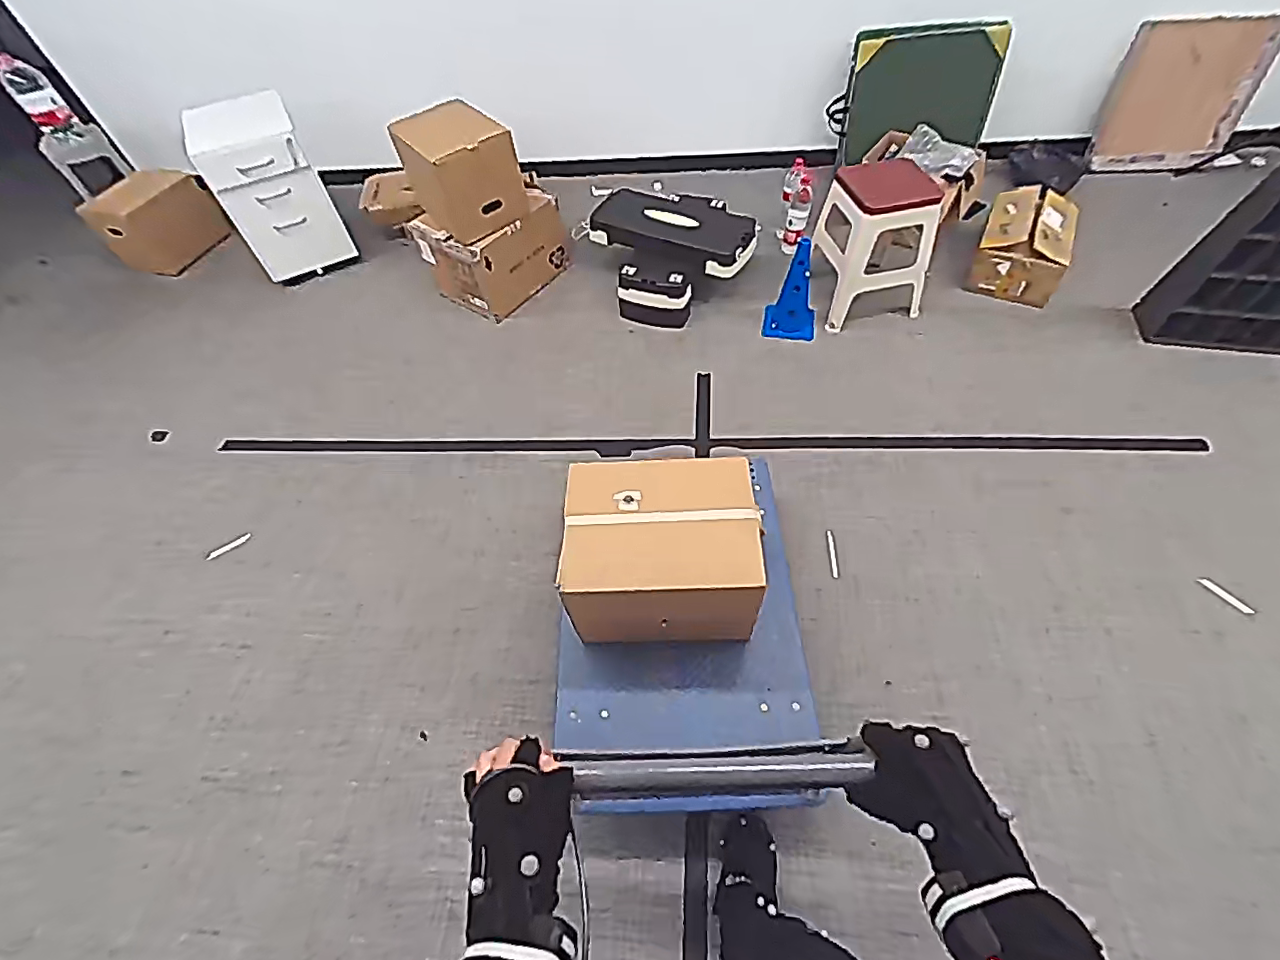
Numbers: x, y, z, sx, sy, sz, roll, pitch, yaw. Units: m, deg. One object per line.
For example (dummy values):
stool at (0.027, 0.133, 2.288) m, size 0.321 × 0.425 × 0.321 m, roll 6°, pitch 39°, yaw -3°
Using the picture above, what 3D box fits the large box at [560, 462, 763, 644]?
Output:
large box at (0.049, 0.180, 1.252) m, size 0.408 × 0.320 × 0.320 m, roll -3°, pitch 55°, yaw 3°
